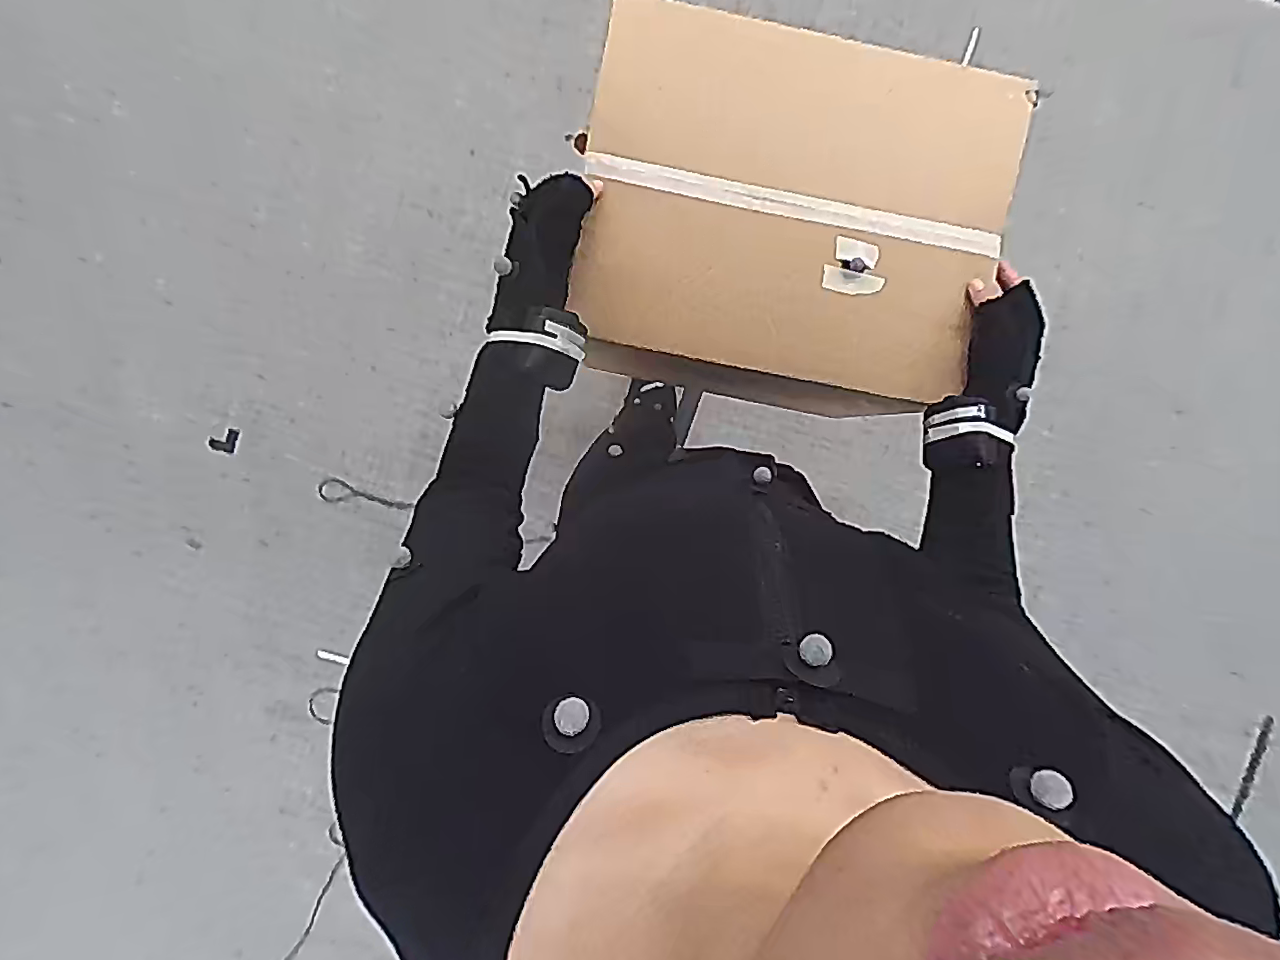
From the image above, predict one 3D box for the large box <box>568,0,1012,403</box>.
[{"bbox_3d":[0.141,-0.289,0.682,0.408,0.320,0.320,11,96,-3],"label":"large box"}]
